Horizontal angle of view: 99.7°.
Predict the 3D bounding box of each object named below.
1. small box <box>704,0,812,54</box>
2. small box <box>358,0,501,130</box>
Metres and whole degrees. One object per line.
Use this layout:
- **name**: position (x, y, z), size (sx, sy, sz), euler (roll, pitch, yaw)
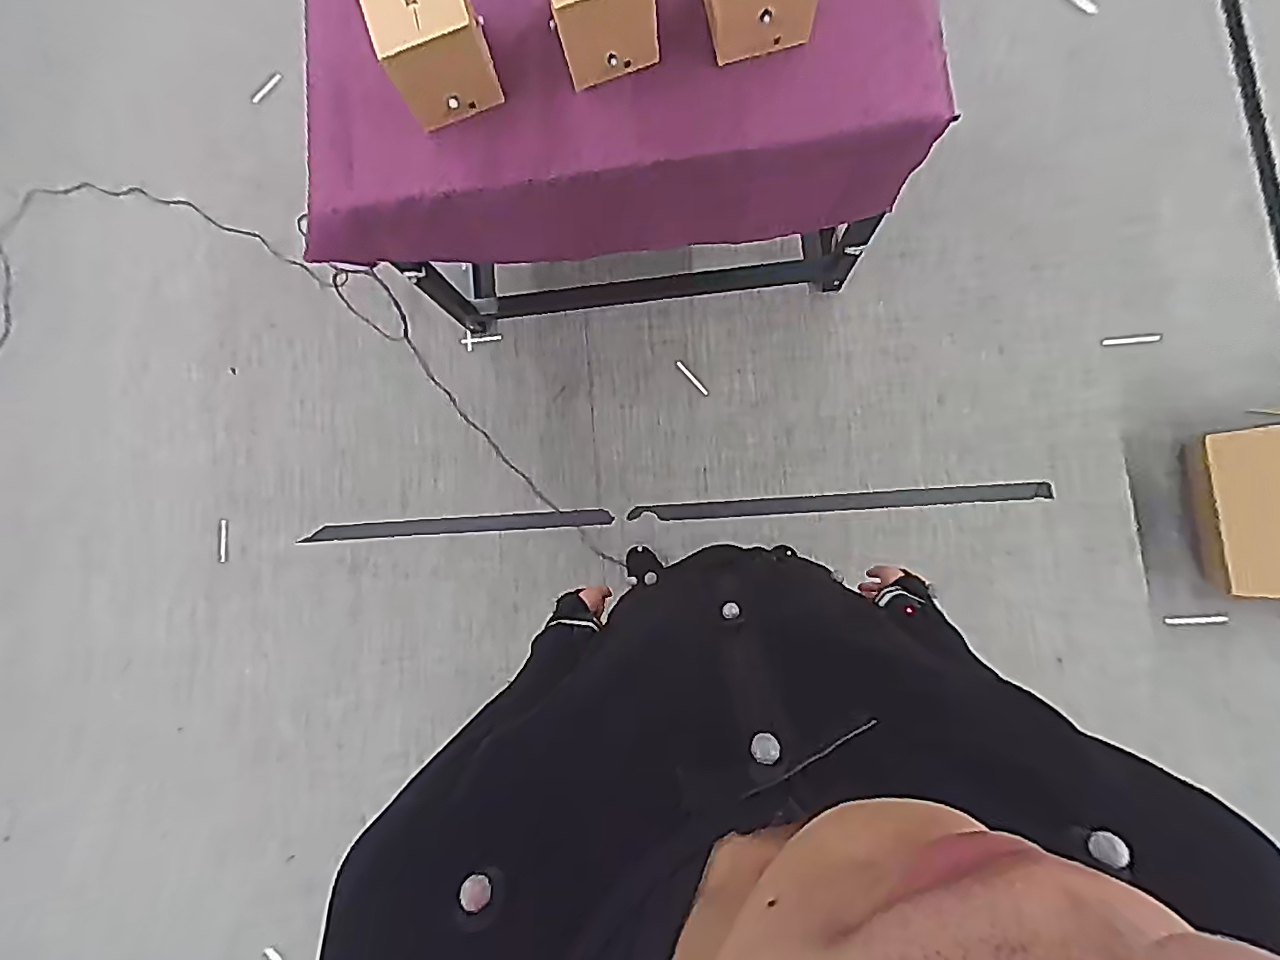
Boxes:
- **small box**: position (0.196, -0.861, 0.903), size (0.168, 0.176, 0.179), euler (-11, 84, 4)
- **small box**: position (-0.368, -0.773, 0.955), size (0.168, 0.176, 0.179), euler (-19, 84, 4)
